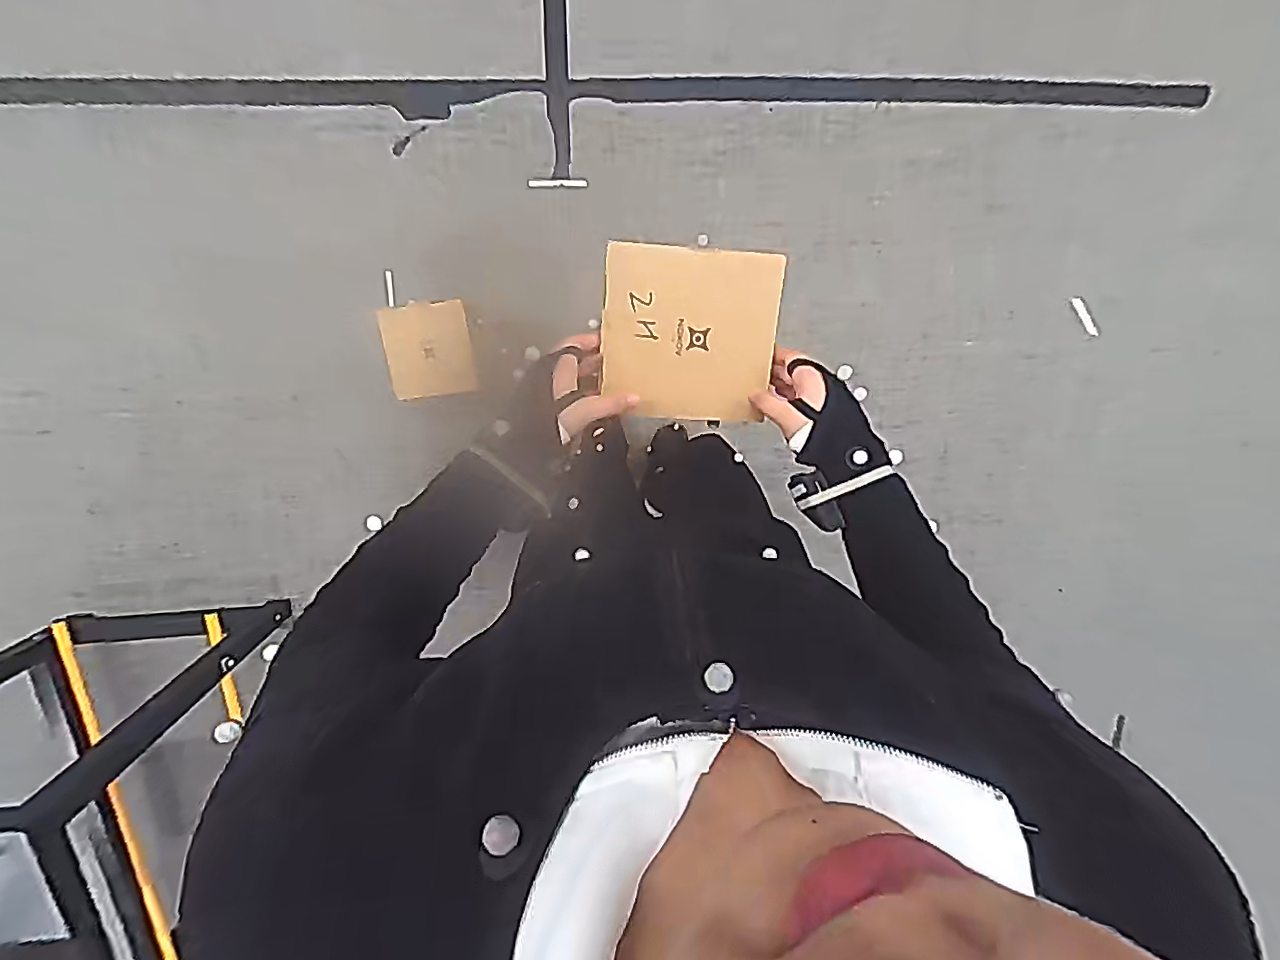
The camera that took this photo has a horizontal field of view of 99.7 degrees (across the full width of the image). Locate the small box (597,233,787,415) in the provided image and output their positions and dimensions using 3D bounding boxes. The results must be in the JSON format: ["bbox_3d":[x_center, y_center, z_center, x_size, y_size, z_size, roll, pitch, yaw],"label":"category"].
[{"bbox_3d":[0.044,-0.175,0.610,0.179,0.176,0.168,3,108,-5],"label":"small box"}]

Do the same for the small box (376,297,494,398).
[{"bbox_3d":[-0.412,-0.275,1.116,0.168,0.176,0.179,-8,107,-1],"label":"small box"}]
